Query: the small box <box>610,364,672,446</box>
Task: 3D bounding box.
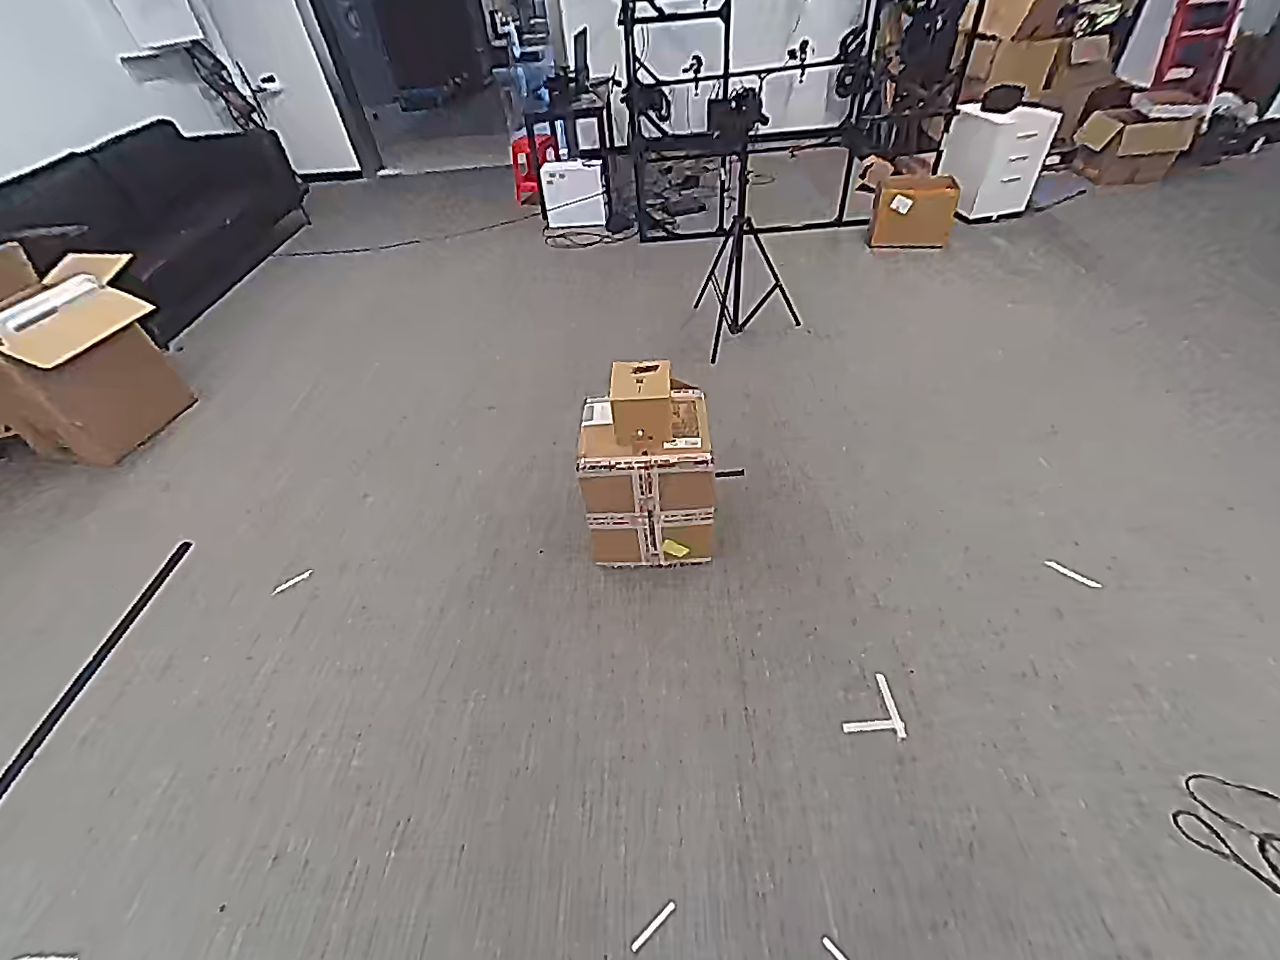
[{"bbox_3d":[0.008,-0.219,1.576,0.168,0.176,0.179,-2,48,4],"label":"small box"}]
